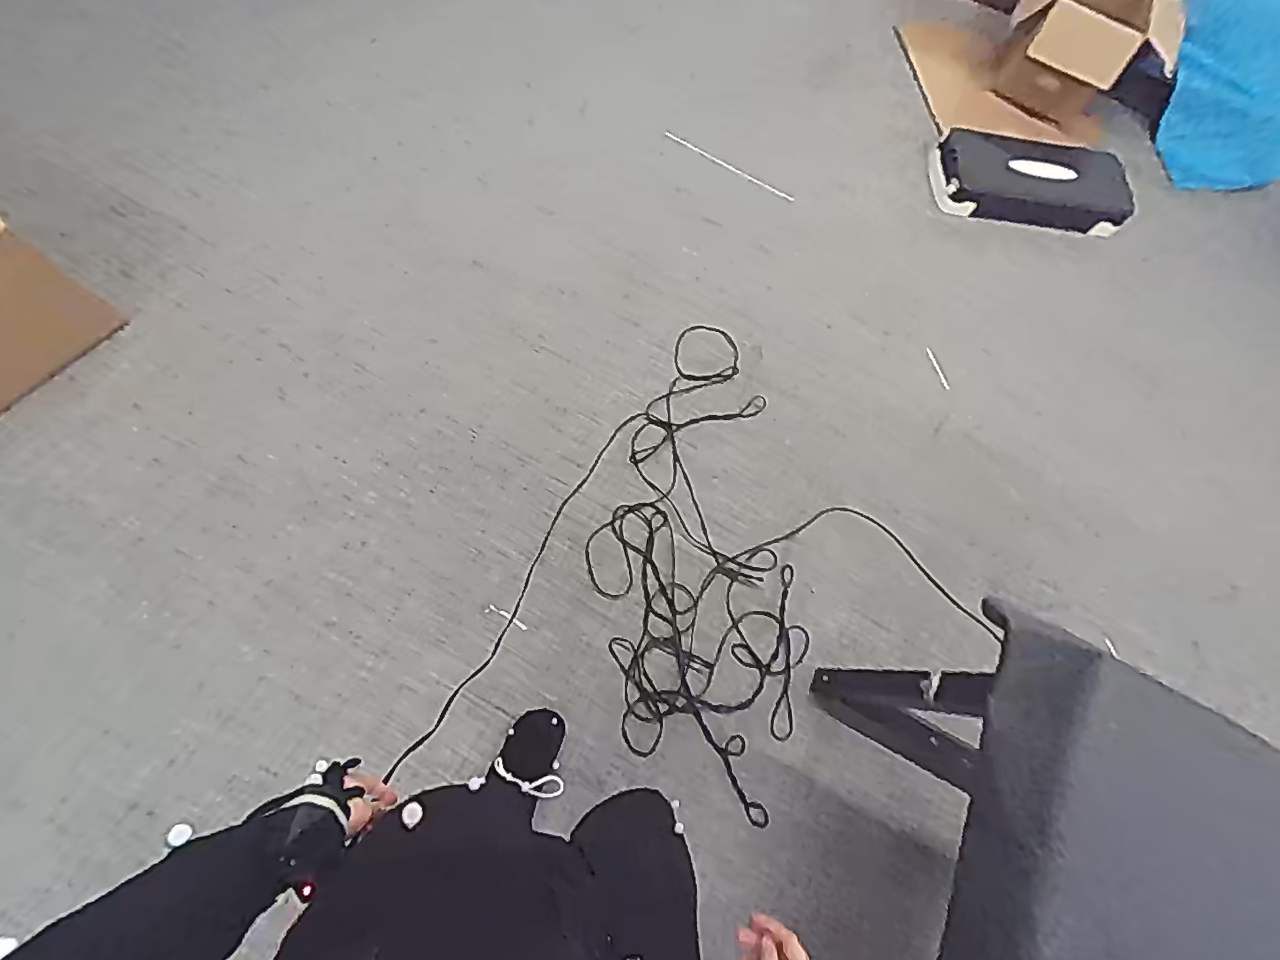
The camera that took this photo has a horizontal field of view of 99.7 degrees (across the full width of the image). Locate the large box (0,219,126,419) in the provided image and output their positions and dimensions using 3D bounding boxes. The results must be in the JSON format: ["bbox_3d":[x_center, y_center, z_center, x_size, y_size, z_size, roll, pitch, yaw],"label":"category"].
[{"bbox_3d":[-1.446,-0.361,1.113,0.320,0.320,0.408,36,69,4],"label":"large box"}]
